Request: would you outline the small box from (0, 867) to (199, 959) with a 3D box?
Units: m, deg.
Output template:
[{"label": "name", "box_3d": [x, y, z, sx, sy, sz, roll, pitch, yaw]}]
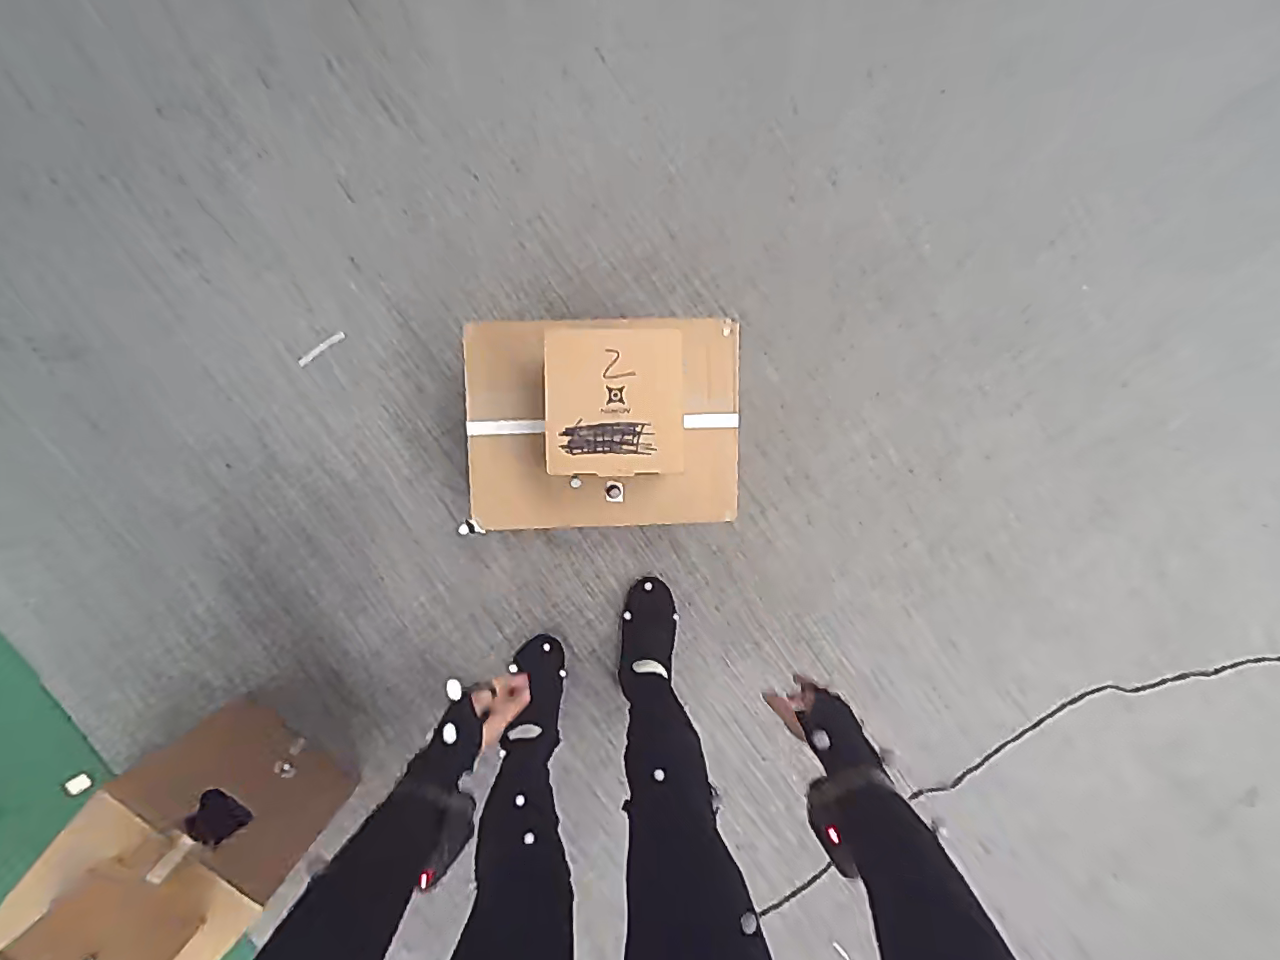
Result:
[{"label": "small box", "box_3d": [-0.776, 0.691, 0.742, 0.179, 0.176, 0.168, 41, 91, -3]}]

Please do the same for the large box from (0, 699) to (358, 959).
[{"label": "large box", "box_3d": [-0.820, 0.702, 0.985, 0.320, 0.320, 0.408, 40, 92, -2]}]
